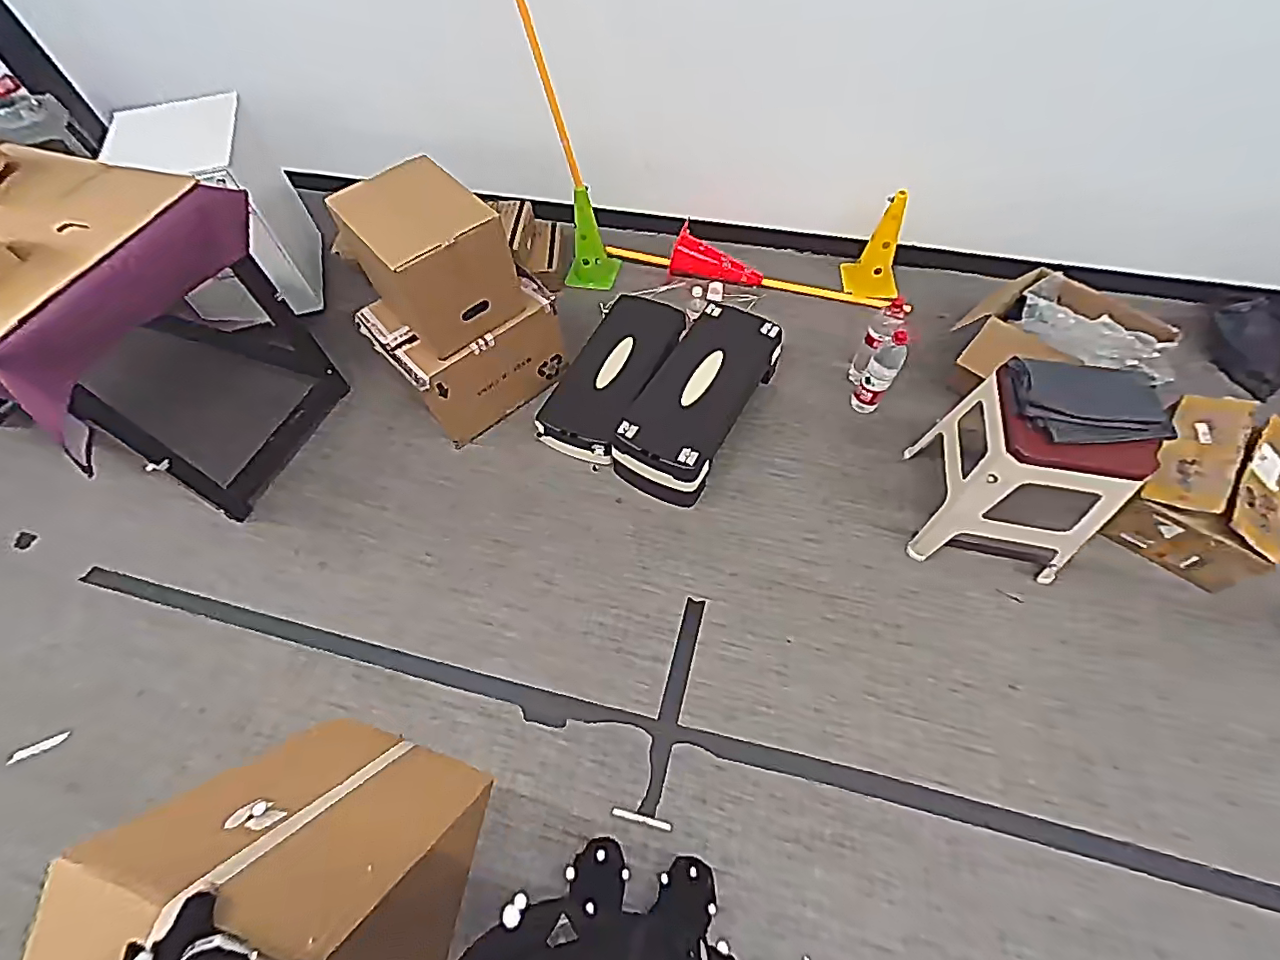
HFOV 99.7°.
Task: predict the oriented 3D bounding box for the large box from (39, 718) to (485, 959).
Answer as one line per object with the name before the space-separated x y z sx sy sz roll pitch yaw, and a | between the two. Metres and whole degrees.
large box | -0.470 0.594 0.734 0.320 0.408 0.320 14 90 11
